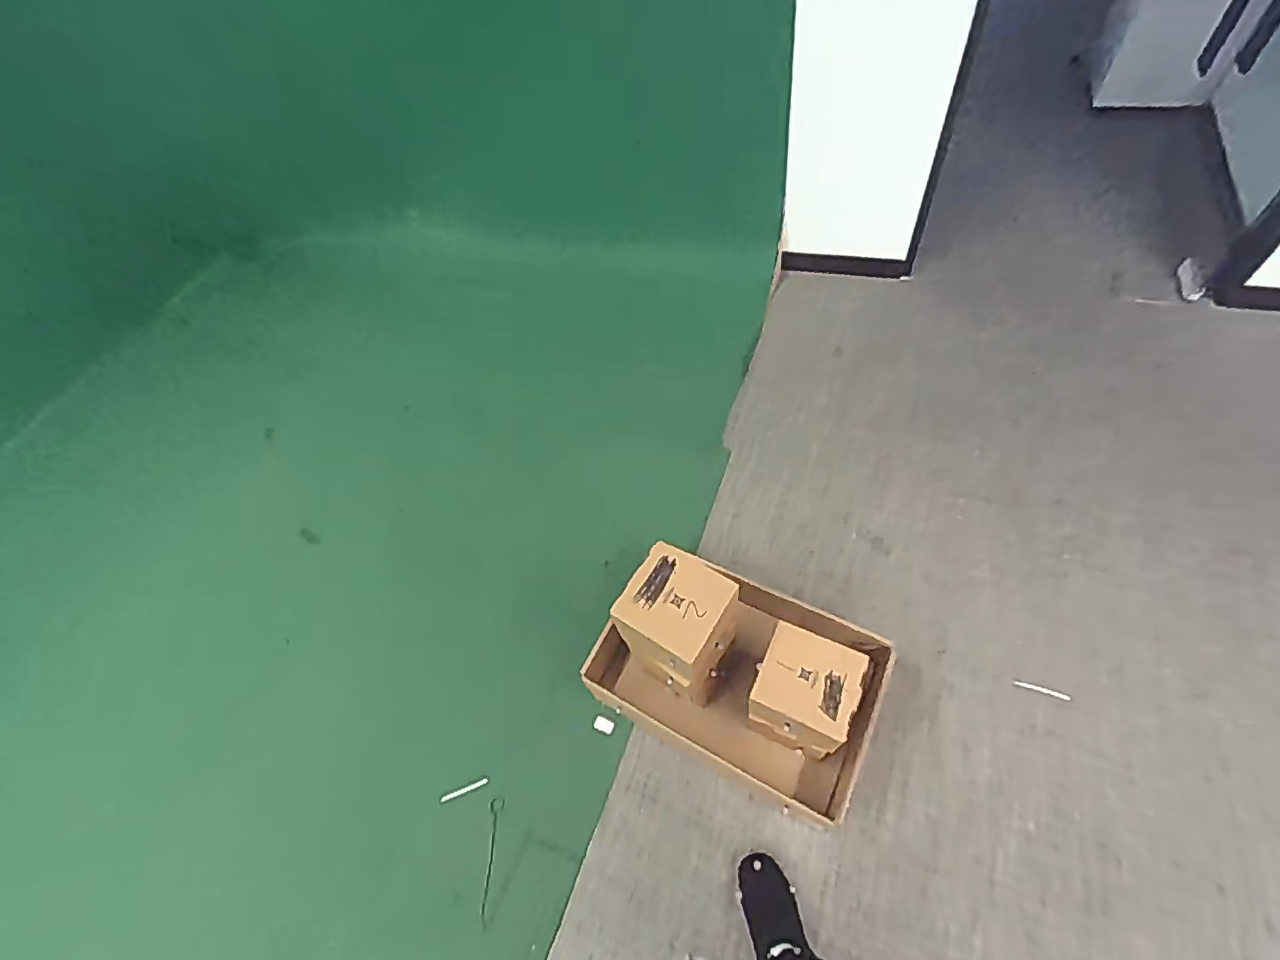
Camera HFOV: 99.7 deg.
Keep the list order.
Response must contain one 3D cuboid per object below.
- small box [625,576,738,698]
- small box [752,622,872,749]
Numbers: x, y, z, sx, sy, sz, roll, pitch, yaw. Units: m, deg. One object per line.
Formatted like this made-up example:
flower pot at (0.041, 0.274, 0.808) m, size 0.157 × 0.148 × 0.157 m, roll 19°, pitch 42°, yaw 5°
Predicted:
small box at (0.093, 0.344, 1.164) m, size 0.179 × 0.176 × 0.168 m, roll 32°, pitch 68°, yaw 24°
small box at (0.335, 0.410, 1.068) m, size 0.179 × 0.176 × 0.168 m, roll 19°, pitch 64°, yaw 24°
